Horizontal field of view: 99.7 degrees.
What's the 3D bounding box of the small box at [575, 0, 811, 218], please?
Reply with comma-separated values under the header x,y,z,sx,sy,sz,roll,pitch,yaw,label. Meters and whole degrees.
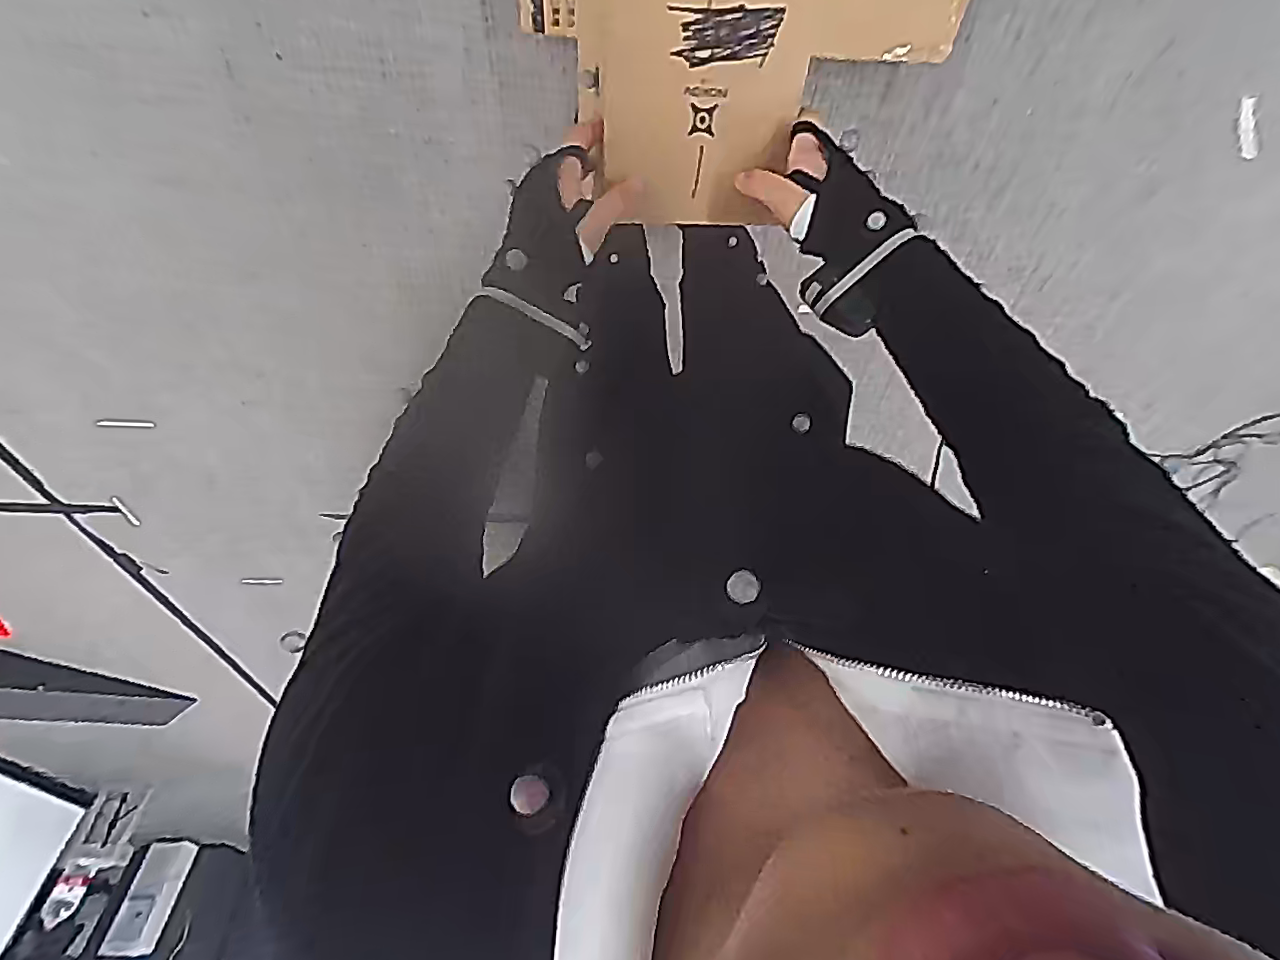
x,y,z,sx,sy,sz,roll,pitch,yaw,label
0.031,-0.356,0.498,0.168,0.176,0.179,-4,129,-11,small box
